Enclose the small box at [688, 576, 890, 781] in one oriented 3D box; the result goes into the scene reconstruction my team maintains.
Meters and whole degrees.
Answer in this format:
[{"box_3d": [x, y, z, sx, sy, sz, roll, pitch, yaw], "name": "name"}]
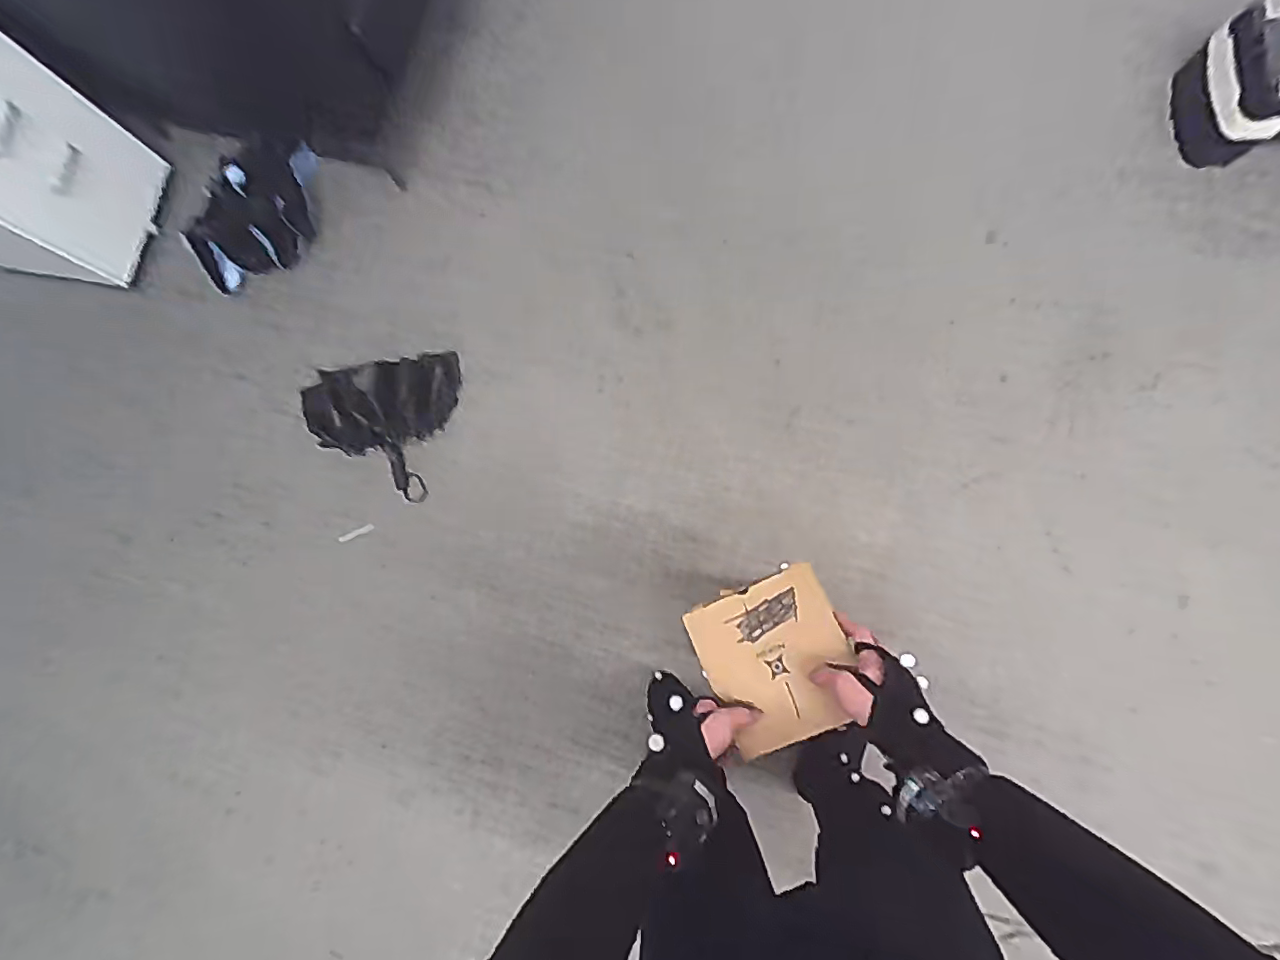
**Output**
[{"box_3d": [0.183, 0.235, 0.674, 0.168, 0.176, 0.179, -29, 71, 13], "name": "small box"}]
